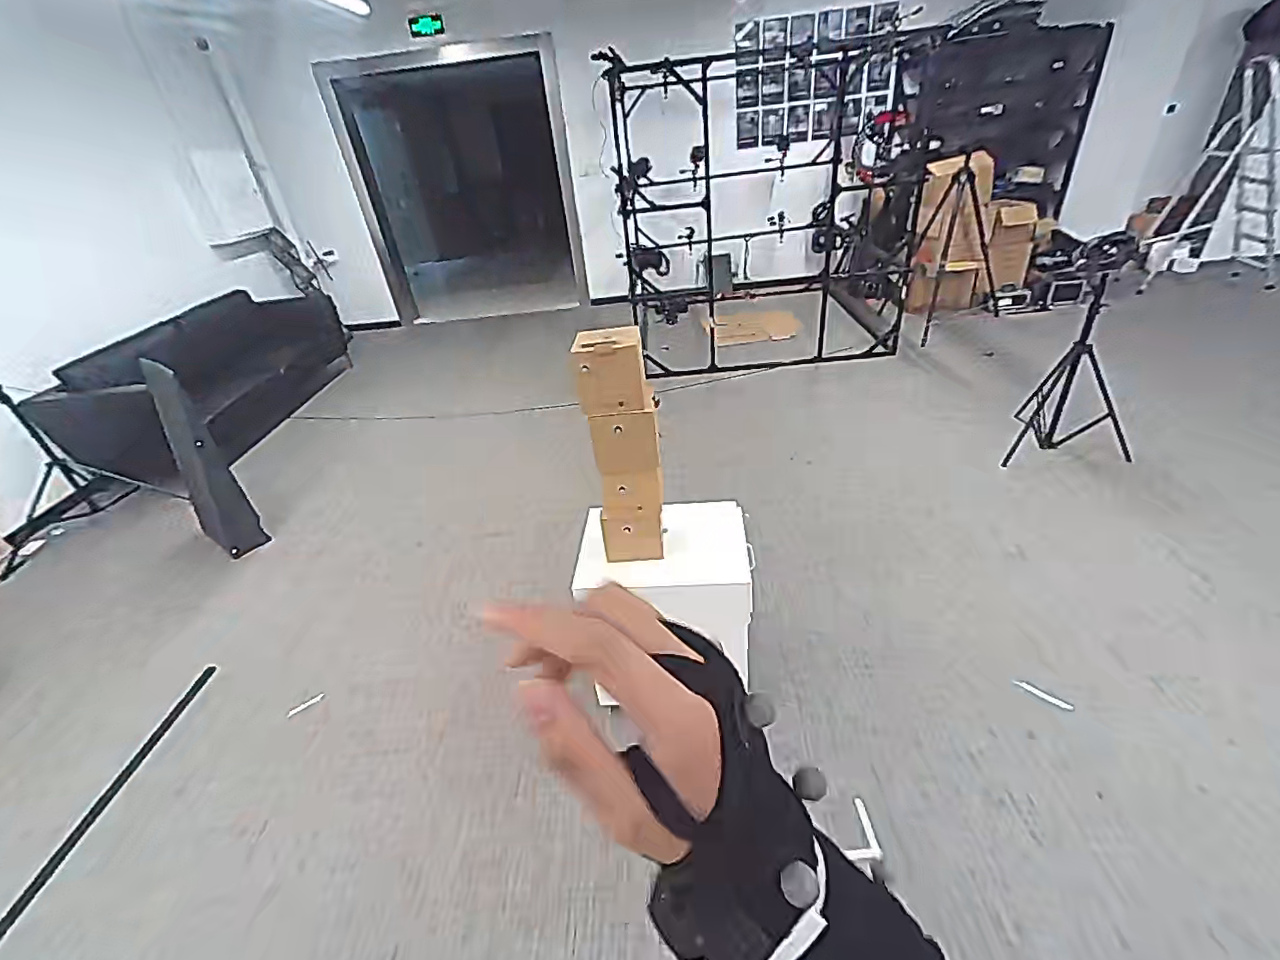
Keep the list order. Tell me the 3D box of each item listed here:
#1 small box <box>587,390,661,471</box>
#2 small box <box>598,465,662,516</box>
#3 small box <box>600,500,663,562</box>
[{"bbox_3d":[-0.039,-0.134,1.487,0.179,0.176,0.168,-3,33,5],"label":"small box"},{"bbox_3d":[-0.023,-0.005,1.590,0.168,0.176,0.179,-3,32,5],"label":"small box"},{"bbox_3d":[-0.022,0.139,1.667,0.179,0.176,0.168,-3,33,3],"label":"small box"}]
